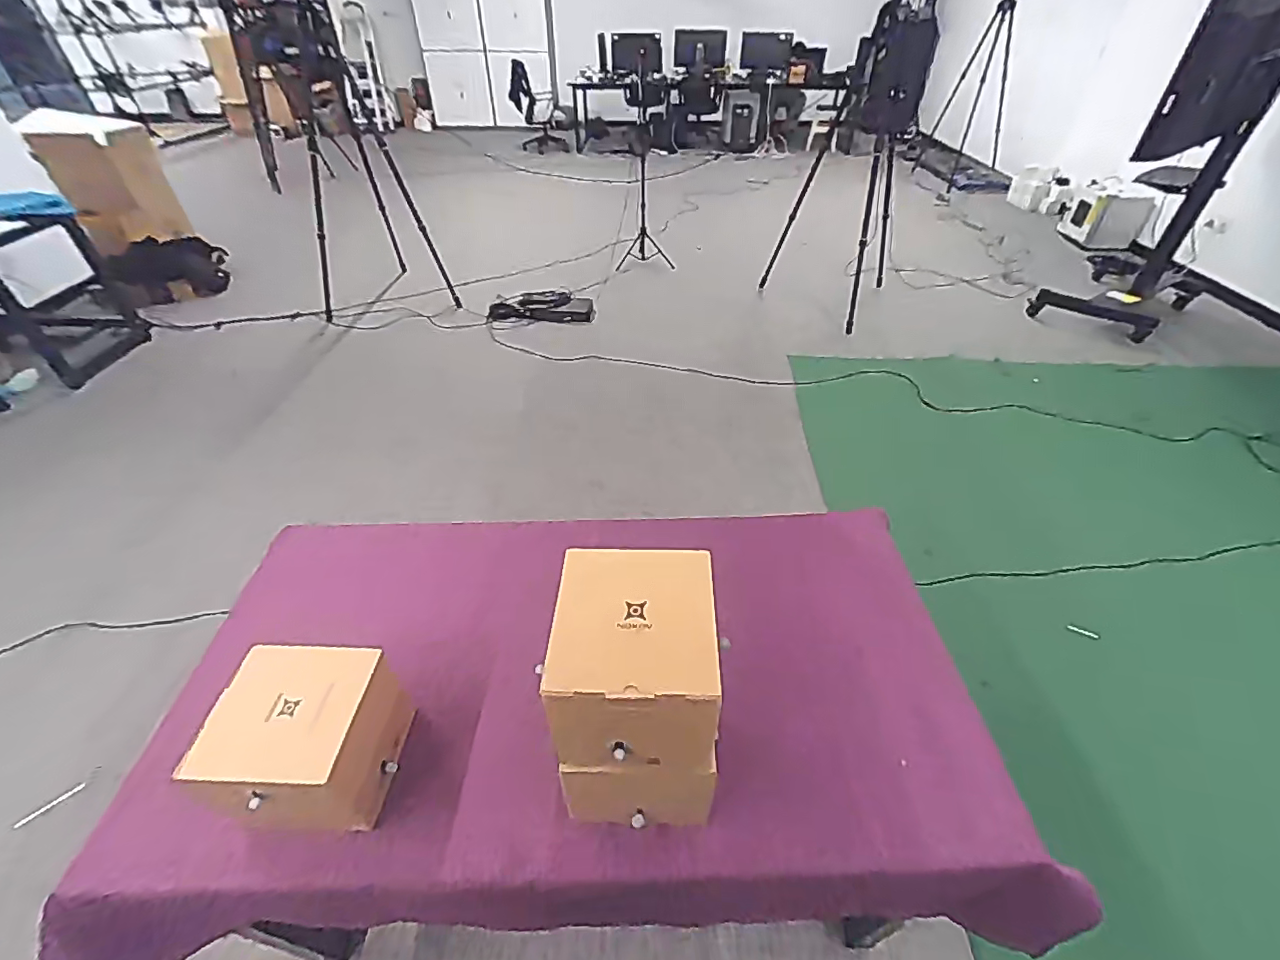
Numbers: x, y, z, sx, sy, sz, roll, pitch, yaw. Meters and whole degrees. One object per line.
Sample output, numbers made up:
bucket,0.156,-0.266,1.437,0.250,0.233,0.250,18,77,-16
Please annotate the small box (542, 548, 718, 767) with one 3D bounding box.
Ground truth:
small box,-0.007,0.197,0.610,0.168,0.176,0.179,0,43,2

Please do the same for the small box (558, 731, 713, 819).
small box,-0.005,0.327,0.710,0.179,0.176,0.168,1,41,0

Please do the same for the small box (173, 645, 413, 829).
small box,-0.426,0.334,0.703,0.179,0.176,0.168,2,42,1
